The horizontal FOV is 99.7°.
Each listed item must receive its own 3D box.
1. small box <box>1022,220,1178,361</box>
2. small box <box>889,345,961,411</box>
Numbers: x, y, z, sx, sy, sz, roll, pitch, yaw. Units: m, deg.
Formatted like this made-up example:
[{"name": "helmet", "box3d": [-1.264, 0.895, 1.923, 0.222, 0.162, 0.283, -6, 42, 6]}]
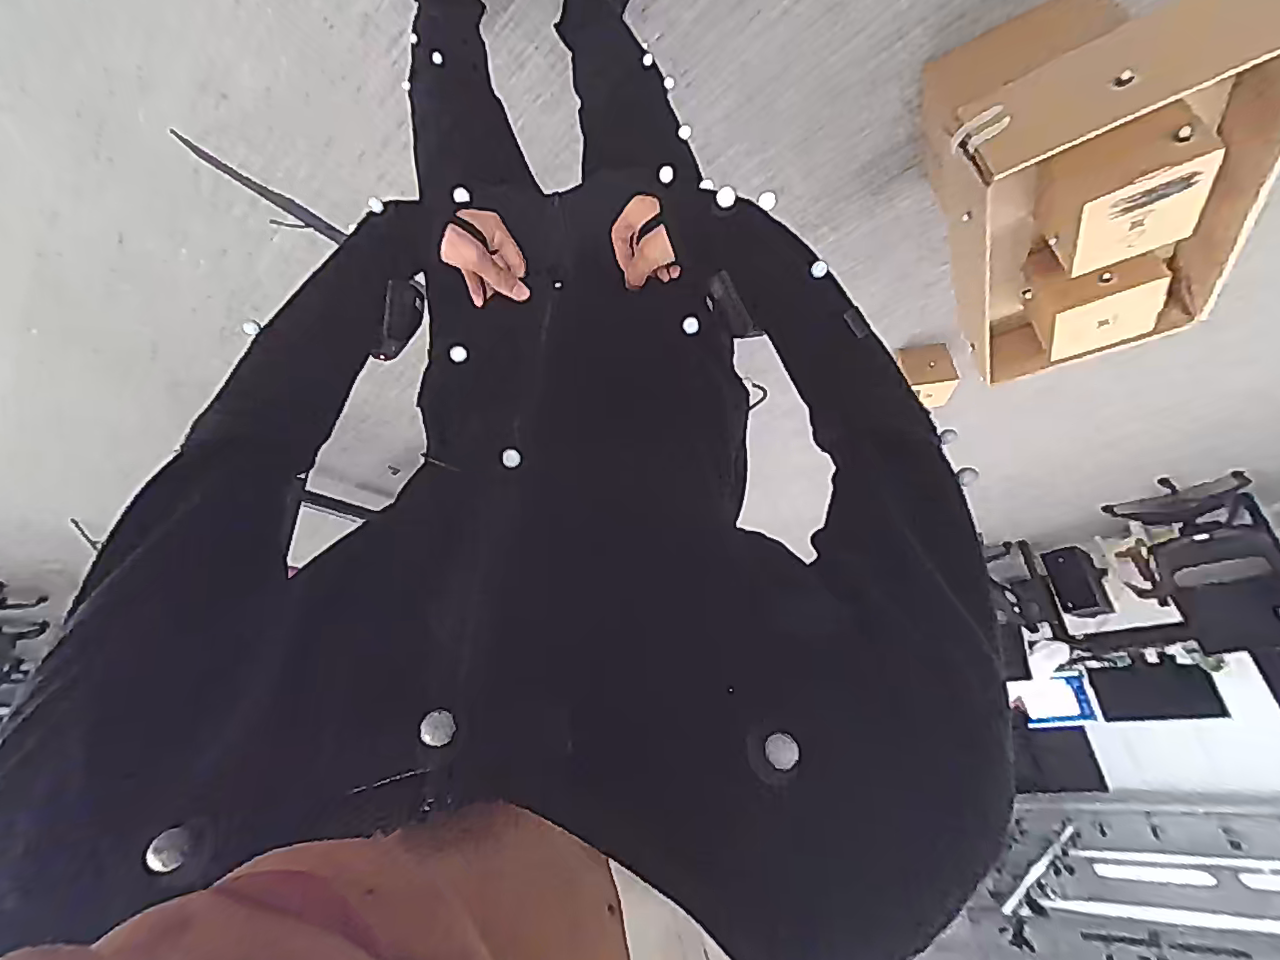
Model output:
[{"name": "small box", "box3d": [0.908, -0.380, 1.086, 0.179, 0.176, 0.168, -20, 147, 24]}, {"name": "small box", "box3d": [1.049, -0.379, 2.008, 0.179, 0.176, 0.168, -6, 152, 6]}]
